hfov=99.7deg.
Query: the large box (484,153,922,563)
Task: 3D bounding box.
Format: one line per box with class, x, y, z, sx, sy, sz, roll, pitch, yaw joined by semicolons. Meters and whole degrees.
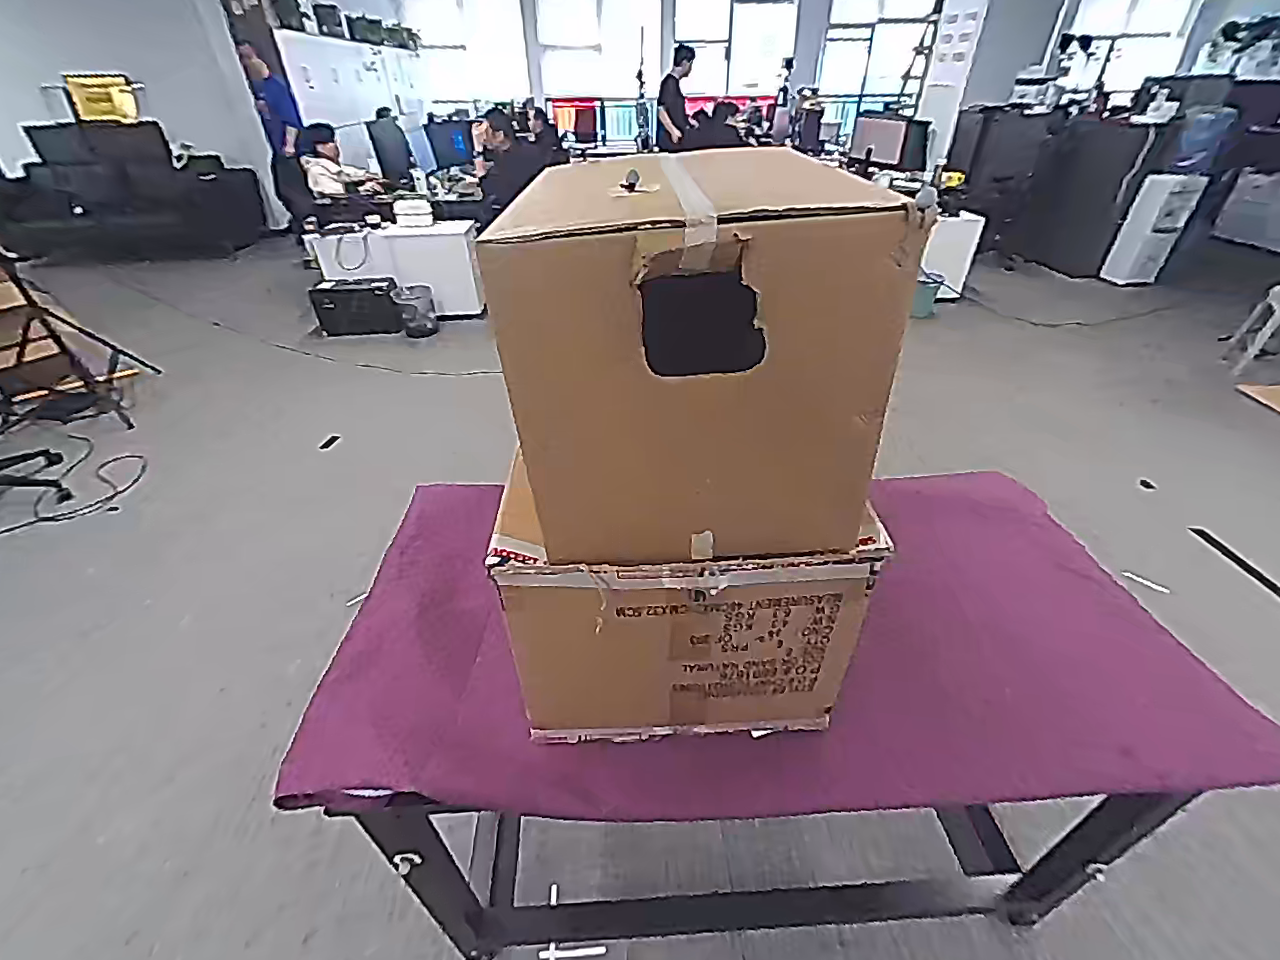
large box;0.043;-0.163;0.616;0.320;0.320;0.408;-5;37;1
